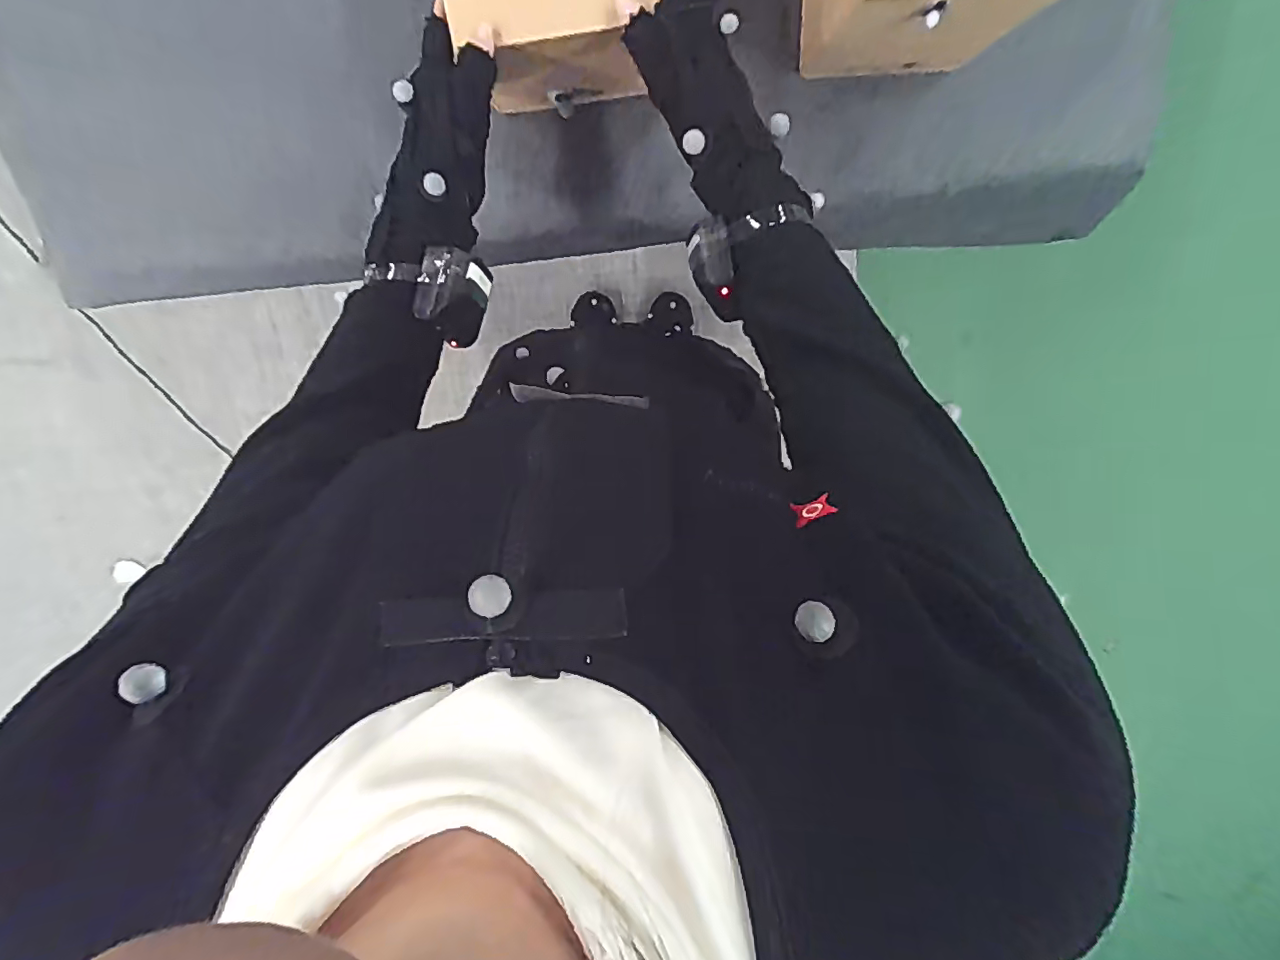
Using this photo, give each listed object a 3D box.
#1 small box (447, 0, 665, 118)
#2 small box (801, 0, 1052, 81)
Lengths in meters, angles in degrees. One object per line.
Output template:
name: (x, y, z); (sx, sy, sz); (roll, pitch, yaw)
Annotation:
small box: (-0.073, -0.447, 0.466); (0.168, 0.176, 0.179); (-8, 110, 3)
small box: (0.242, -0.475, 0.458); (0.168, 0.176, 0.179); (-3, 108, 1)
